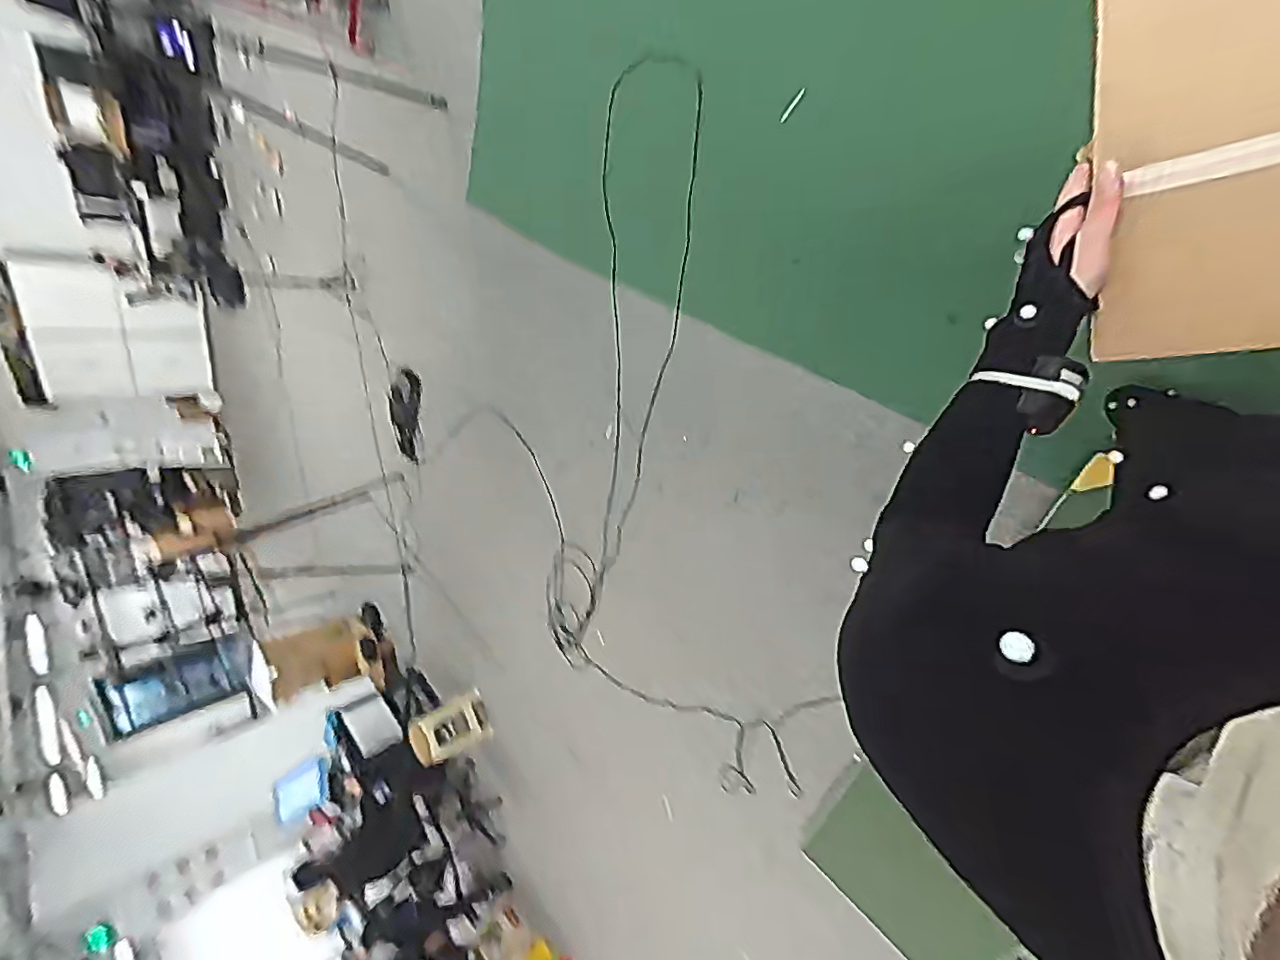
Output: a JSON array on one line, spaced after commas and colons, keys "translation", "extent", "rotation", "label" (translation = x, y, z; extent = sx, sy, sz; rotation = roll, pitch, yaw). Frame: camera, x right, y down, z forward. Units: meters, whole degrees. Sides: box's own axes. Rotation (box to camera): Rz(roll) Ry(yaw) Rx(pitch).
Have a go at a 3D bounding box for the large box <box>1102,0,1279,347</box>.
[{"translation": [0.655, -0.319, 0.453], "extent": [0.408, 0.320, 0.320], "rotation": [3, 115, 41], "label": "large box"}]
